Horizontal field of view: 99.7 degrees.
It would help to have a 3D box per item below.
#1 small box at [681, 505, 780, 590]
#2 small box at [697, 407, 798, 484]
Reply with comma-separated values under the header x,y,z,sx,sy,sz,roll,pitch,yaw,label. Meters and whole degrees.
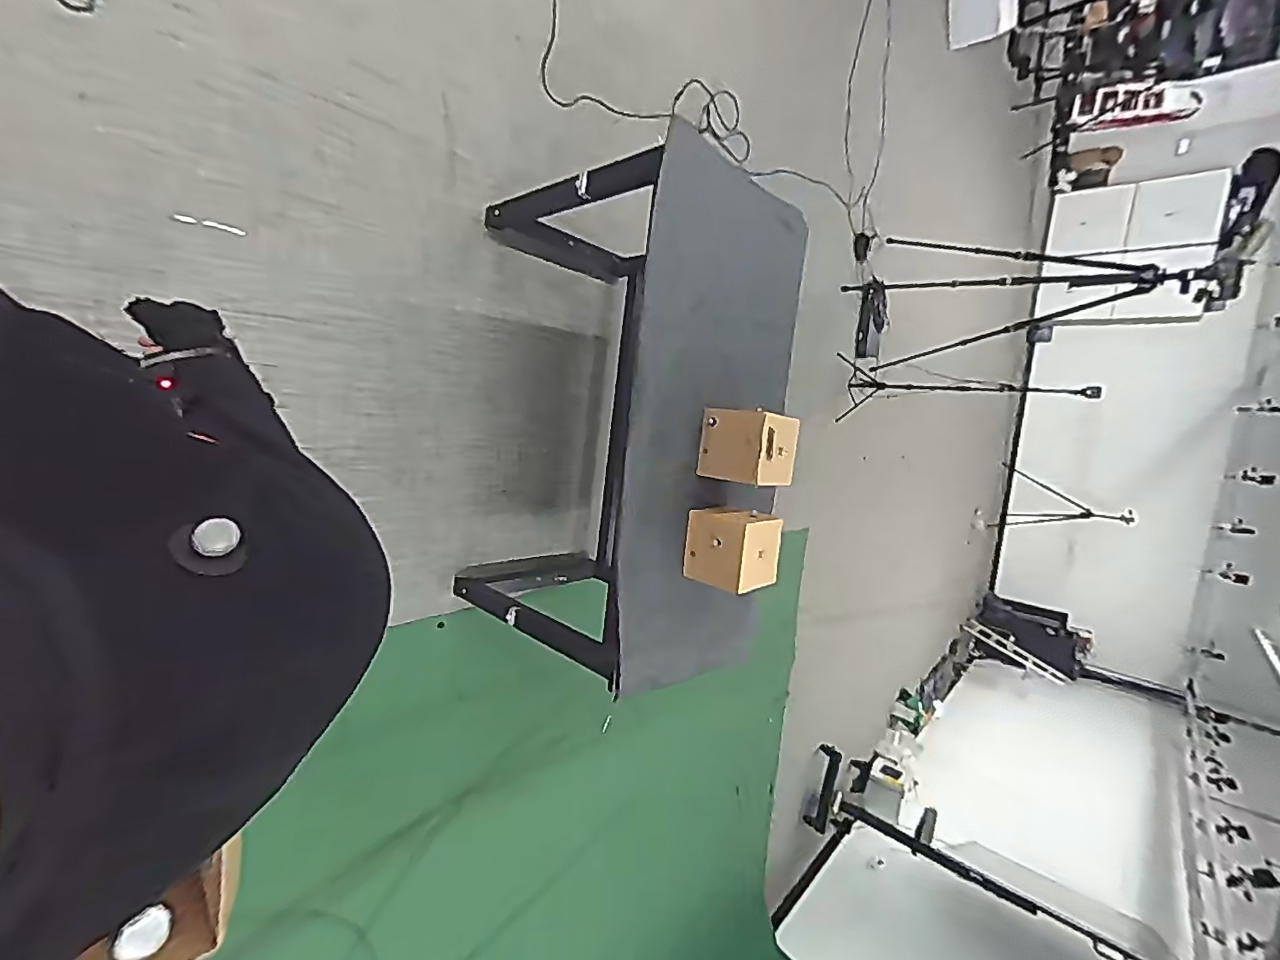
x,y,z,sx,sy,sz,roll,pitch,yaw,label
0.220,0.159,1.335,0.179,0.176,0.168,-2,101,-48,small box
0.259,-0.085,1.315,0.179,0.176,0.168,1,99,-49,small box
